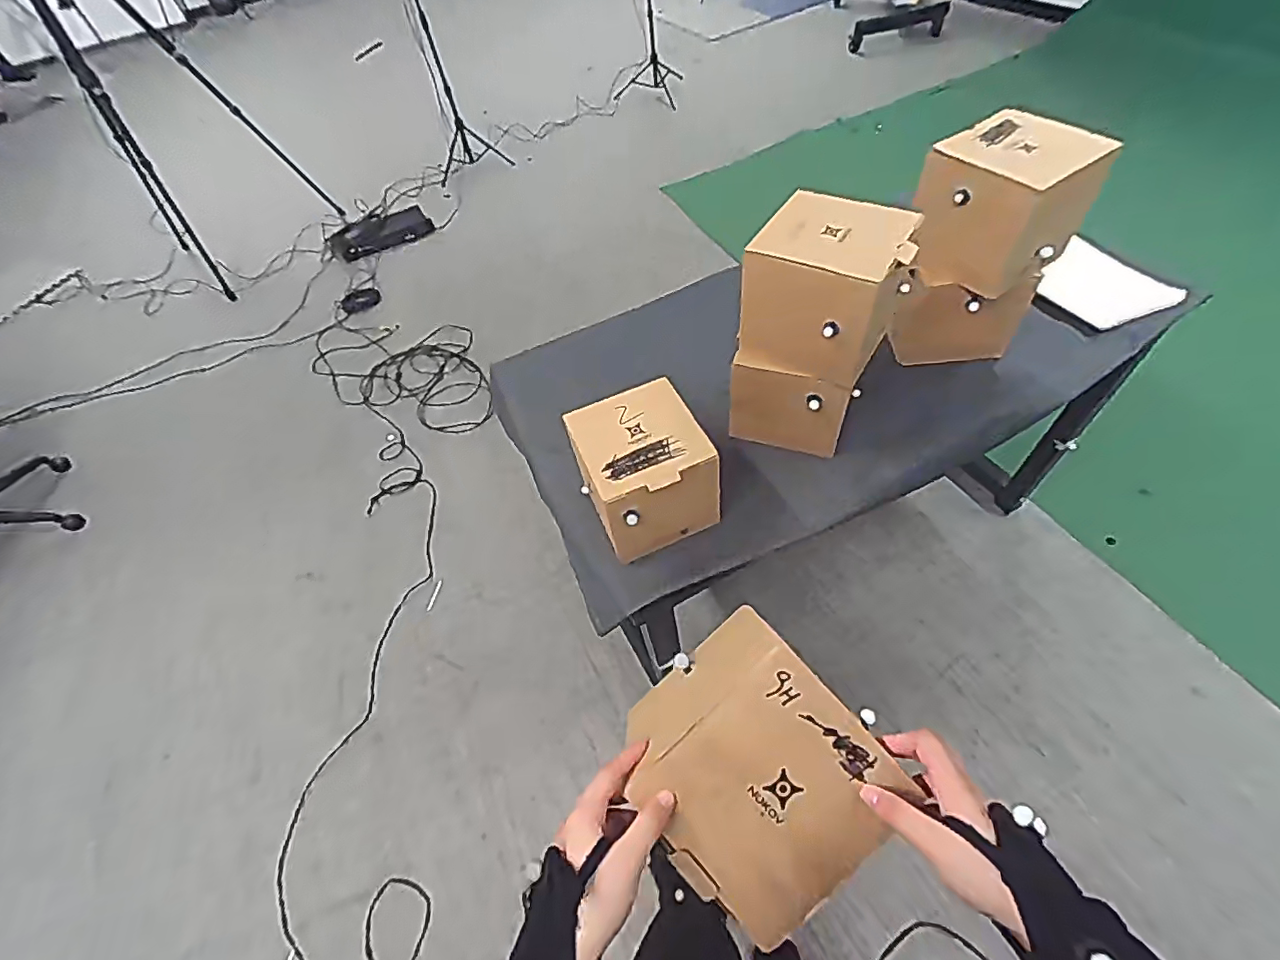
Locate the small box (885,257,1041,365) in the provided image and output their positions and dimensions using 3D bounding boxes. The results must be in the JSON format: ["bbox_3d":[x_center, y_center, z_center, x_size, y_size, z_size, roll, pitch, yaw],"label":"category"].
[{"bbox_3d":[0.546,-0.321,0.952,0.179,0.176,0.168,-3,54,7],"label":"small box"}]

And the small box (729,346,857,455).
[{"bbox_3d":[0.251,-0.161,0.878,0.179,0.176,0.168,15,57,18],"label":"small box"}]

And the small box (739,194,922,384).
[{"bbox_3d":[0.251,-0.258,0.746,0.179,0.176,0.168,25,60,24],"label":"small box"}]

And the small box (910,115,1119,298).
[{"bbox_3d":[0.536,-0.407,0.811,0.168,0.176,0.179,-31,56,-13],"label":"small box"}]

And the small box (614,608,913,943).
[{"bbox_3d":[0.099,0.245,0.500,0.179,0.176,0.168,-42,87,-1],"label":"small box"}]
